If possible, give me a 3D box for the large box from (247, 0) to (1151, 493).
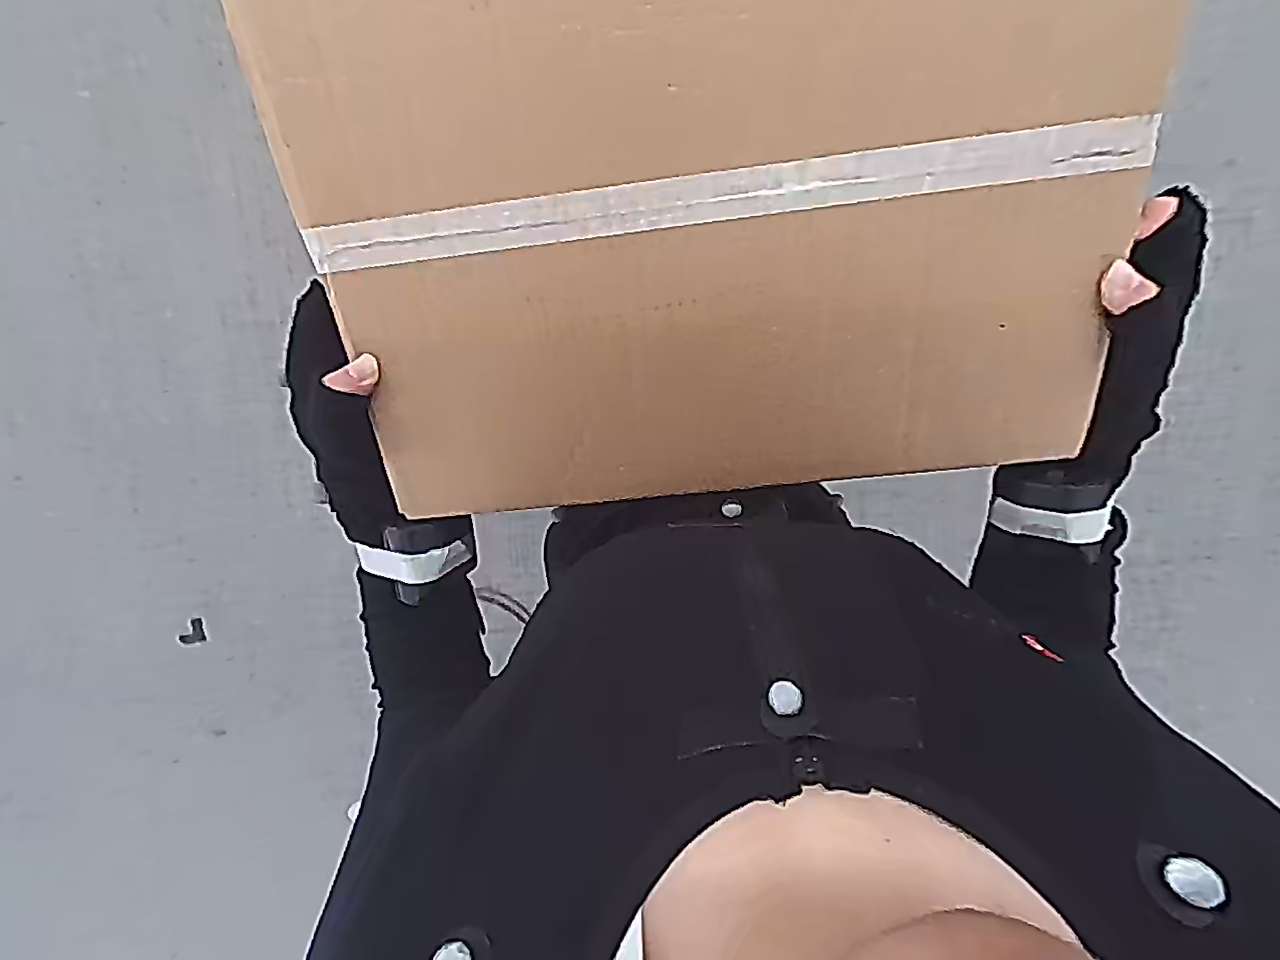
[{"bbox_3d":[0.032,-0.212,0.405,0.408,0.320,0.320,-6,116,3],"label":"large box"}]
